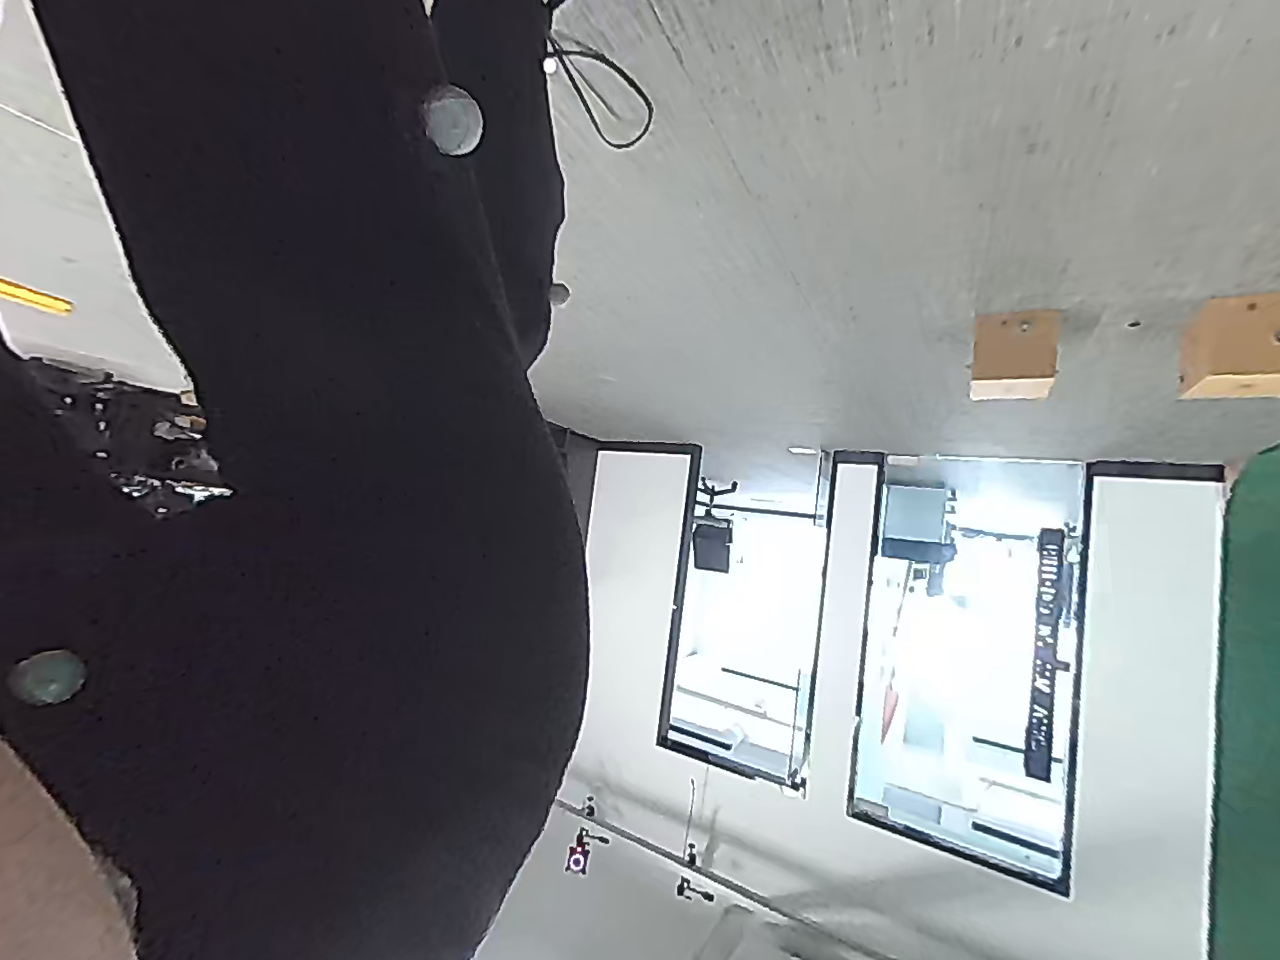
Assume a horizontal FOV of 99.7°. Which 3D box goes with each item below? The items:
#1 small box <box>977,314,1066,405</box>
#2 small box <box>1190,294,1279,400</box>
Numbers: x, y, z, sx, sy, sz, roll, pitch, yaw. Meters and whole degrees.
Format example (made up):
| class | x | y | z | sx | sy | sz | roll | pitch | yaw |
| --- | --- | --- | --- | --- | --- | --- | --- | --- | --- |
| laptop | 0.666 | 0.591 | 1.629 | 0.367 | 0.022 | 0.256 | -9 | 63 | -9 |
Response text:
| class | x | y | z | sx | sy | sz | roll | pitch | yaw |
| --- | --- | --- | --- | --- | --- | --- | --- | --- | --- |
| small box | 0.924 | -0.288 | 1.317 | 0.168 | 0.176 | 0.179 | 2 | 173 | 31 |
| small box | 1.264 | -0.272 | 1.106 | 0.168 | 0.176 | 0.179 | 2 | 174 | 32 |
